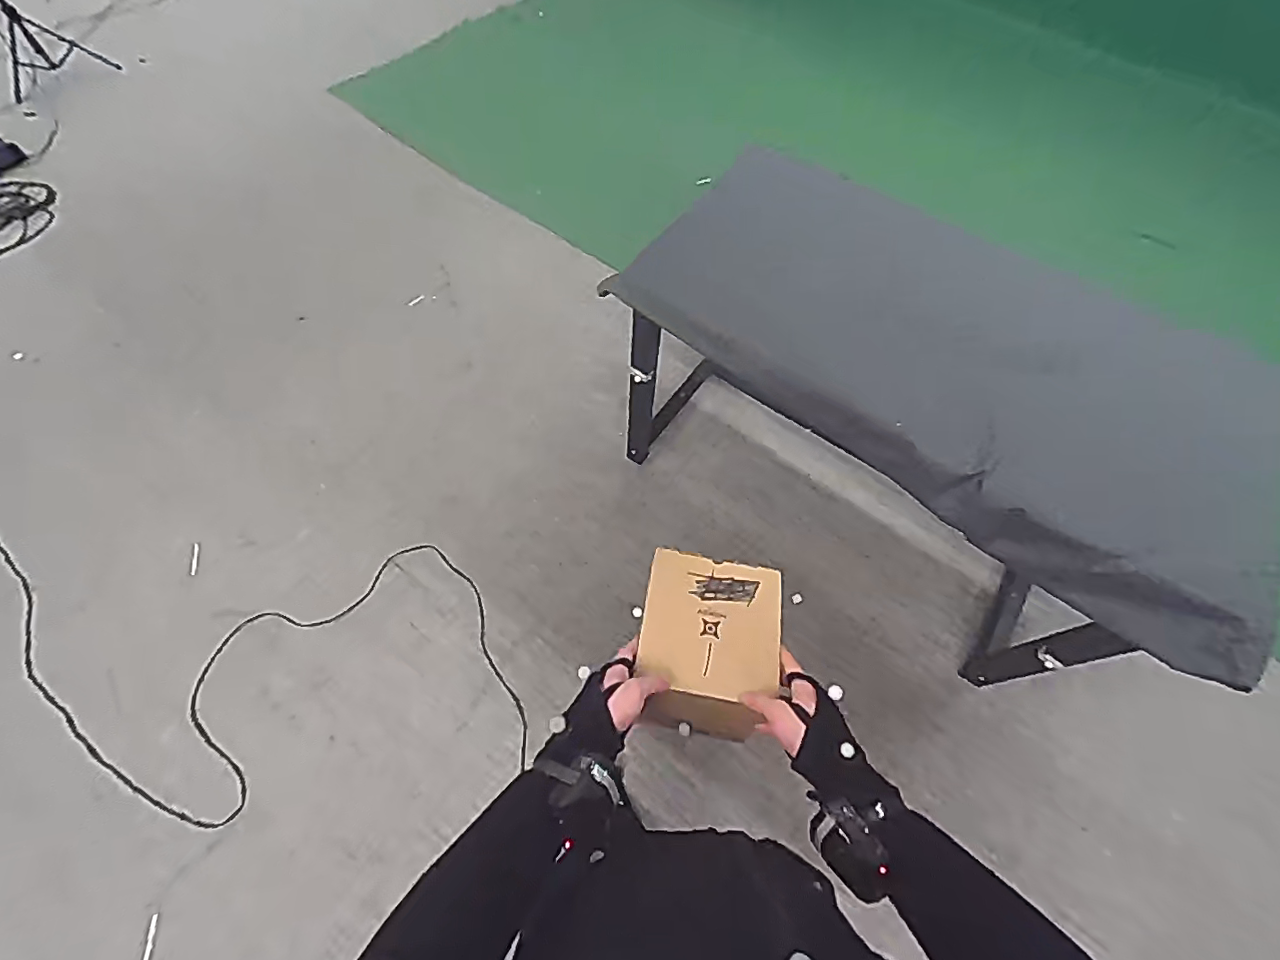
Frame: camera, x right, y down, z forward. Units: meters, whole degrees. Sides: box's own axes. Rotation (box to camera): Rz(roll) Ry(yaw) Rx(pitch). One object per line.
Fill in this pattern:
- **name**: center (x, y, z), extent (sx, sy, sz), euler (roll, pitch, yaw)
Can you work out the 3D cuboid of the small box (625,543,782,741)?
- **small box**: center (0.077, 0.210, 0.692), extent (0.168, 0.176, 0.179), euler (11, 53, 4)
